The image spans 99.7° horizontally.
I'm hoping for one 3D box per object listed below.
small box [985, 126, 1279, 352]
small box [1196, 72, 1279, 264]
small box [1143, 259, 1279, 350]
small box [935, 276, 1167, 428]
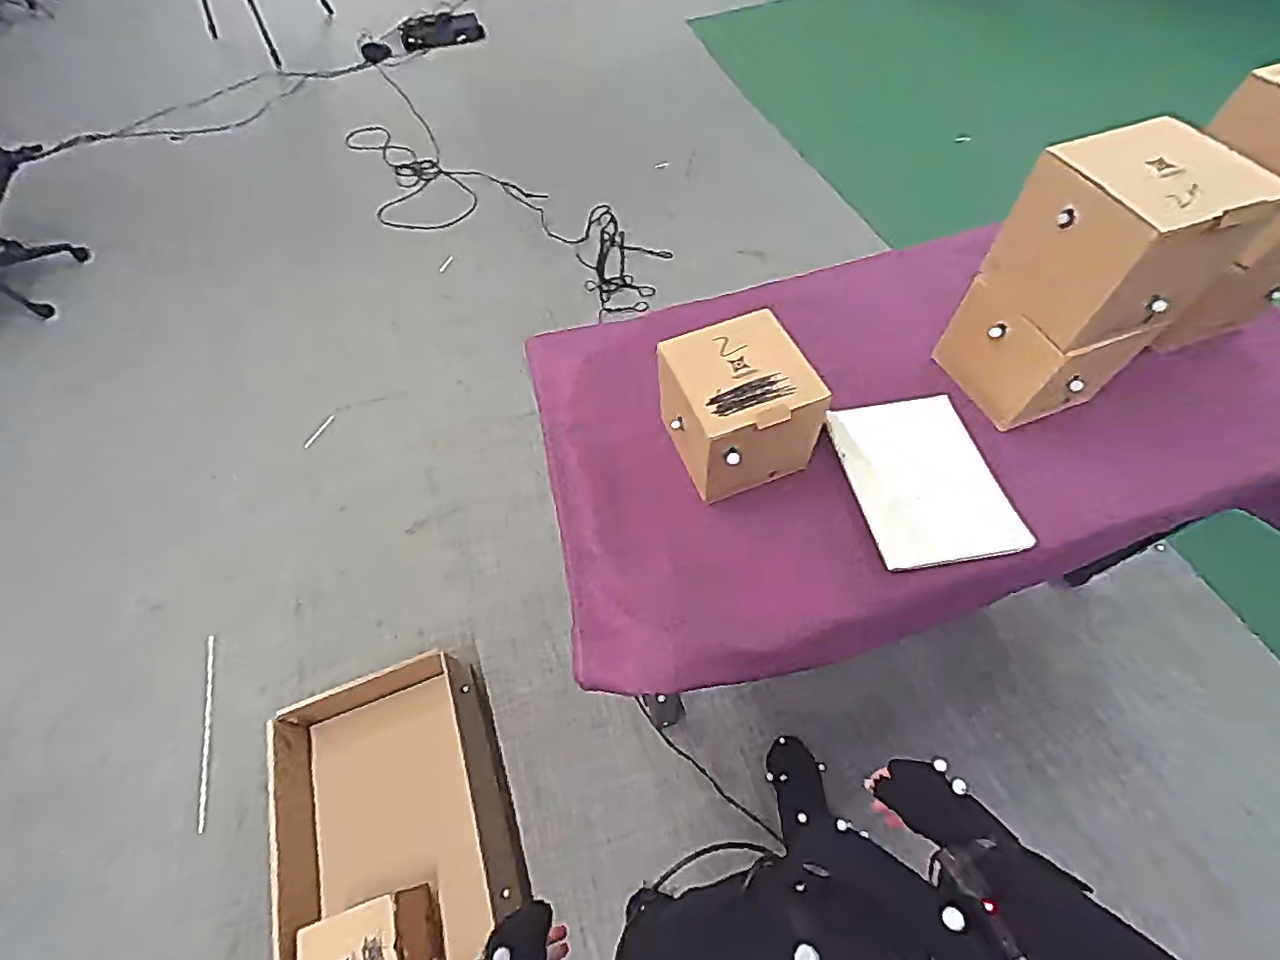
[{"bbox_3d":[0.572,-0.288,0.659,0.168,0.176,0.179,-17,59,-5],"label":"small box"},{"bbox_3d":[0.856,-0.407,0.708,0.168,0.176,0.179,-16,60,-7],"label":"small box"},{"bbox_3d":[0.872,-0.326,0.850,0.168,0.176,0.179,-16,59,-6],"label":"small box"},{"bbox_3d":[0.582,-0.198,0.797,0.168,0.176,0.179,-19,59,-7],"label":"small box"}]
